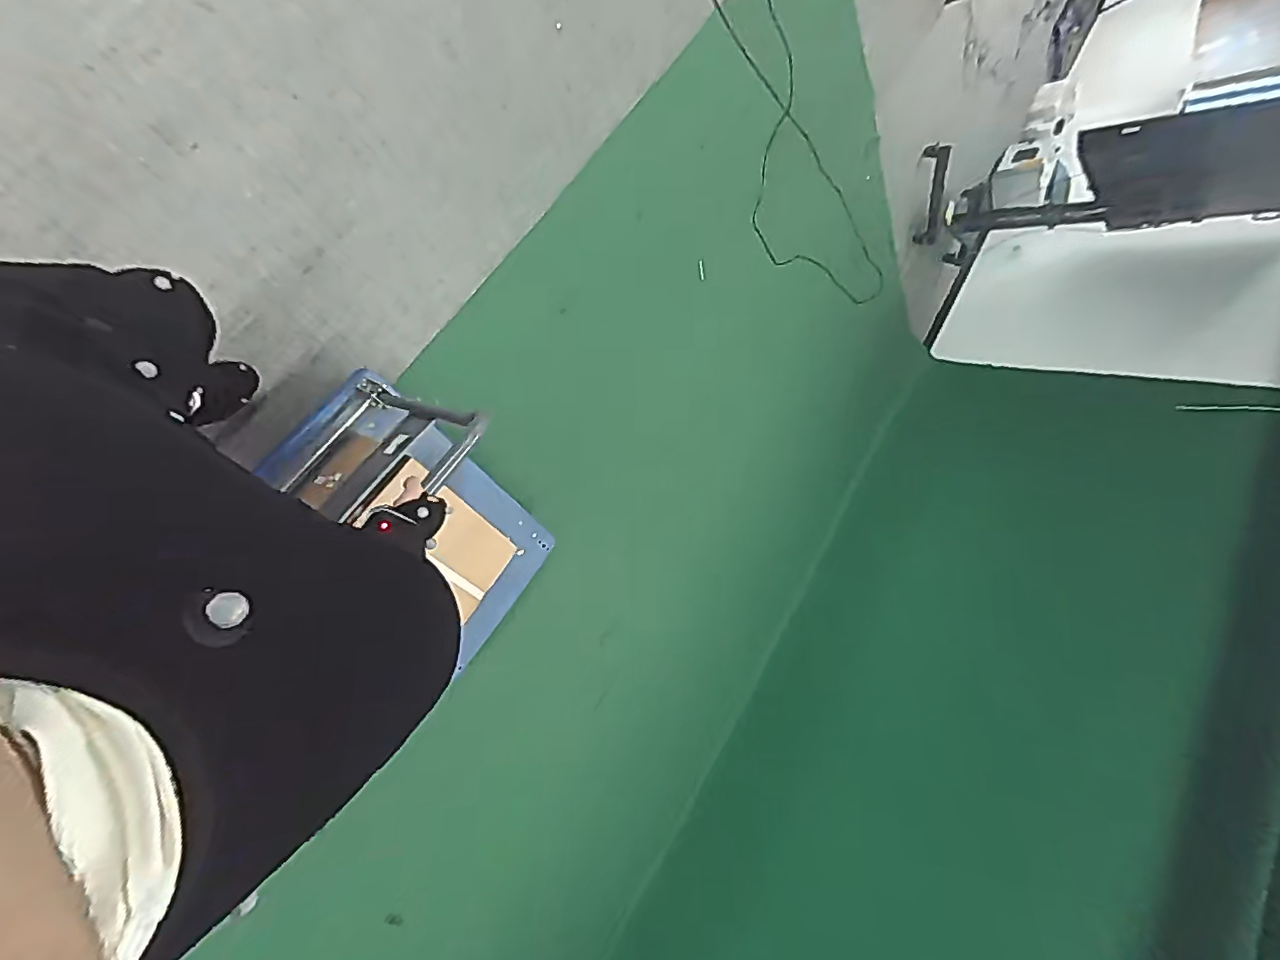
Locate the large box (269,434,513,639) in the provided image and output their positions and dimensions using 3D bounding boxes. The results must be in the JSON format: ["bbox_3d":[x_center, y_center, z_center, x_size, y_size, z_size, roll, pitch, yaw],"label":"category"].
[{"bbox_3d":[-0.619,0.140,1.375,0.320,0.320,0.408,-55,136,-19],"label":"large box"}]
